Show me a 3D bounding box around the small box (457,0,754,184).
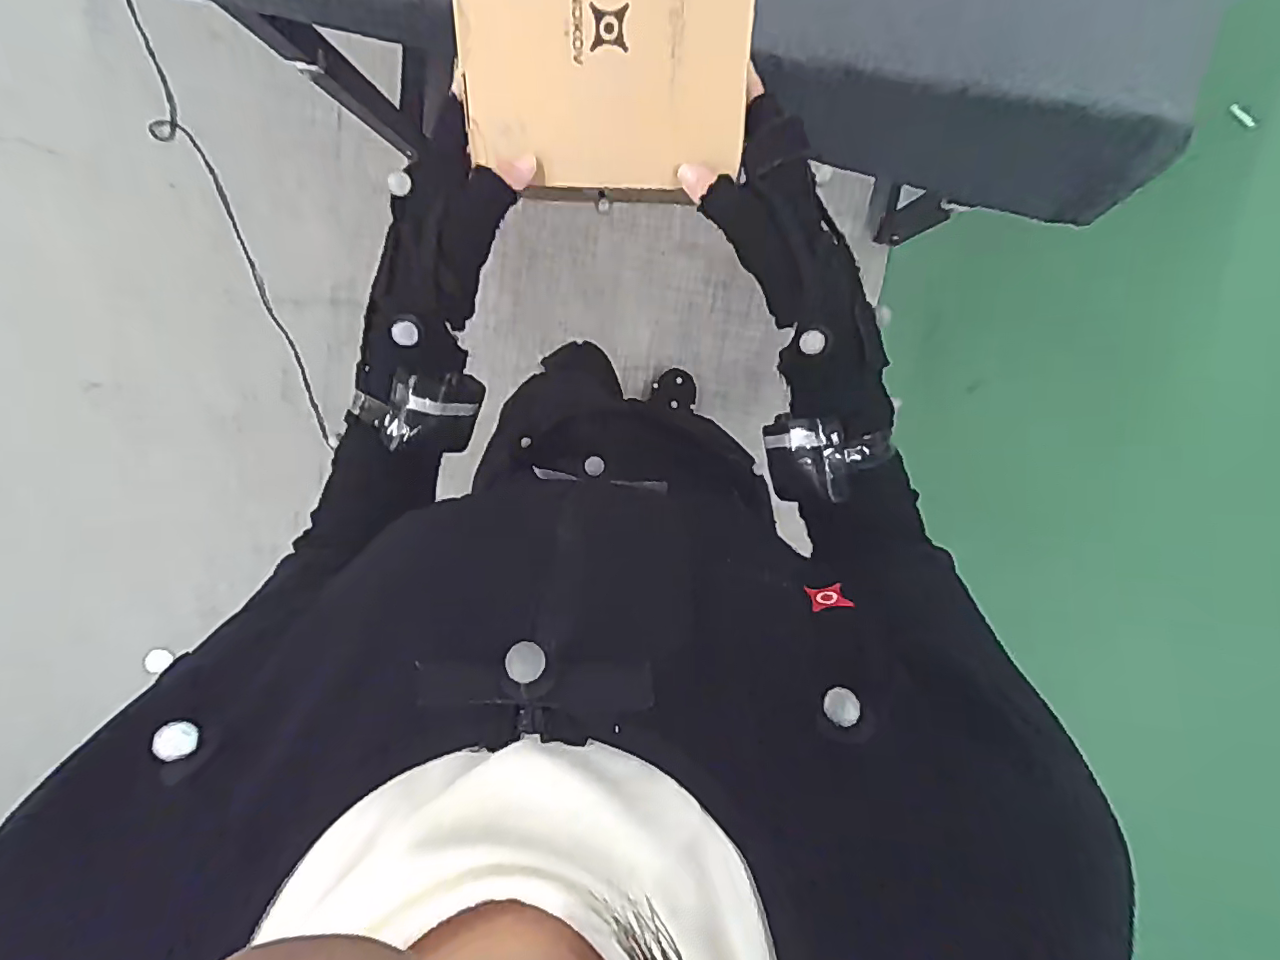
[{"bbox_3d":[-0.016,-0.309,0.384,0.179,0.176,0.168,1,116,3],"label":"small box"}]
